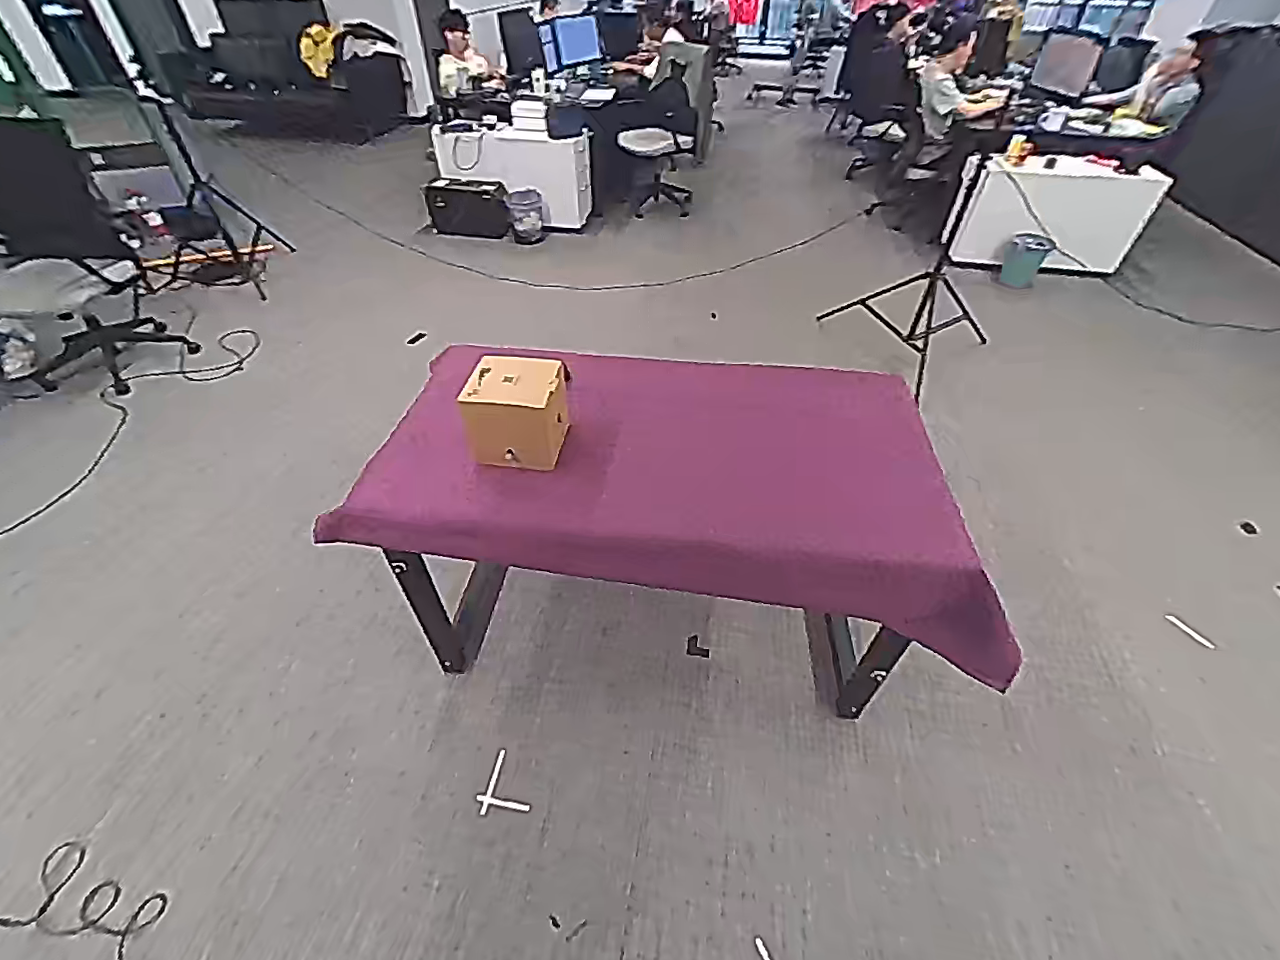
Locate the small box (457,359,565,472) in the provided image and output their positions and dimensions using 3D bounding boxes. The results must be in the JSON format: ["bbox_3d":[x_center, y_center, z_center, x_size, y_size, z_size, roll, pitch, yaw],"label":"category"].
[{"bbox_3d":[-0.261,-0.135,1.151,0.179,0.176,0.168,6,44,4],"label":"small box"}]
